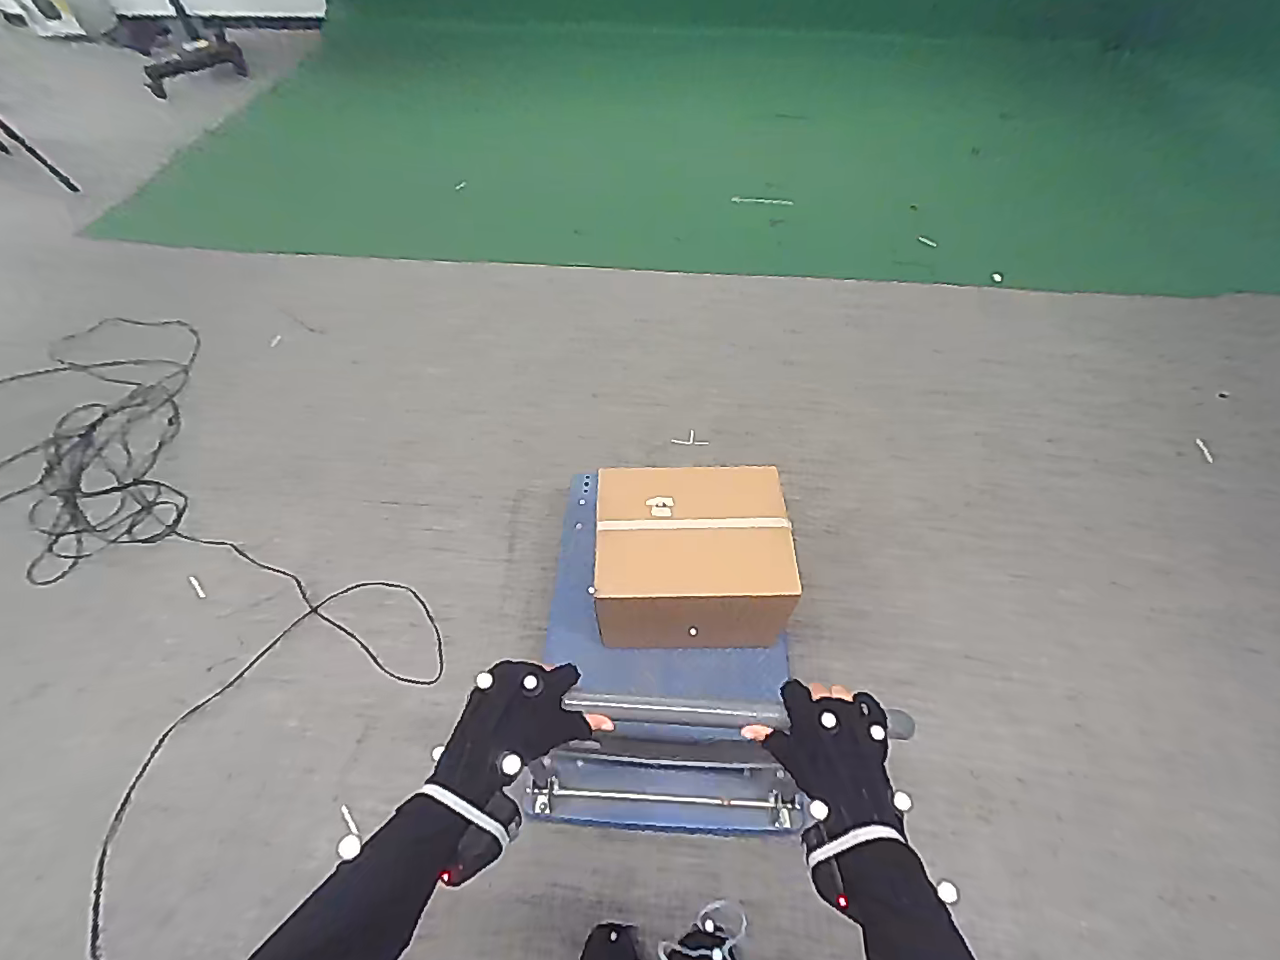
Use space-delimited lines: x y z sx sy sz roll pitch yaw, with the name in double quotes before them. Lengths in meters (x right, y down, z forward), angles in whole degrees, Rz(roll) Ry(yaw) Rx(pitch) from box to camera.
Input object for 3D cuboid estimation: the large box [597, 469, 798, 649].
"large box" 0.114 0.194 1.267 0.408 0.320 0.320 -2 54 0
